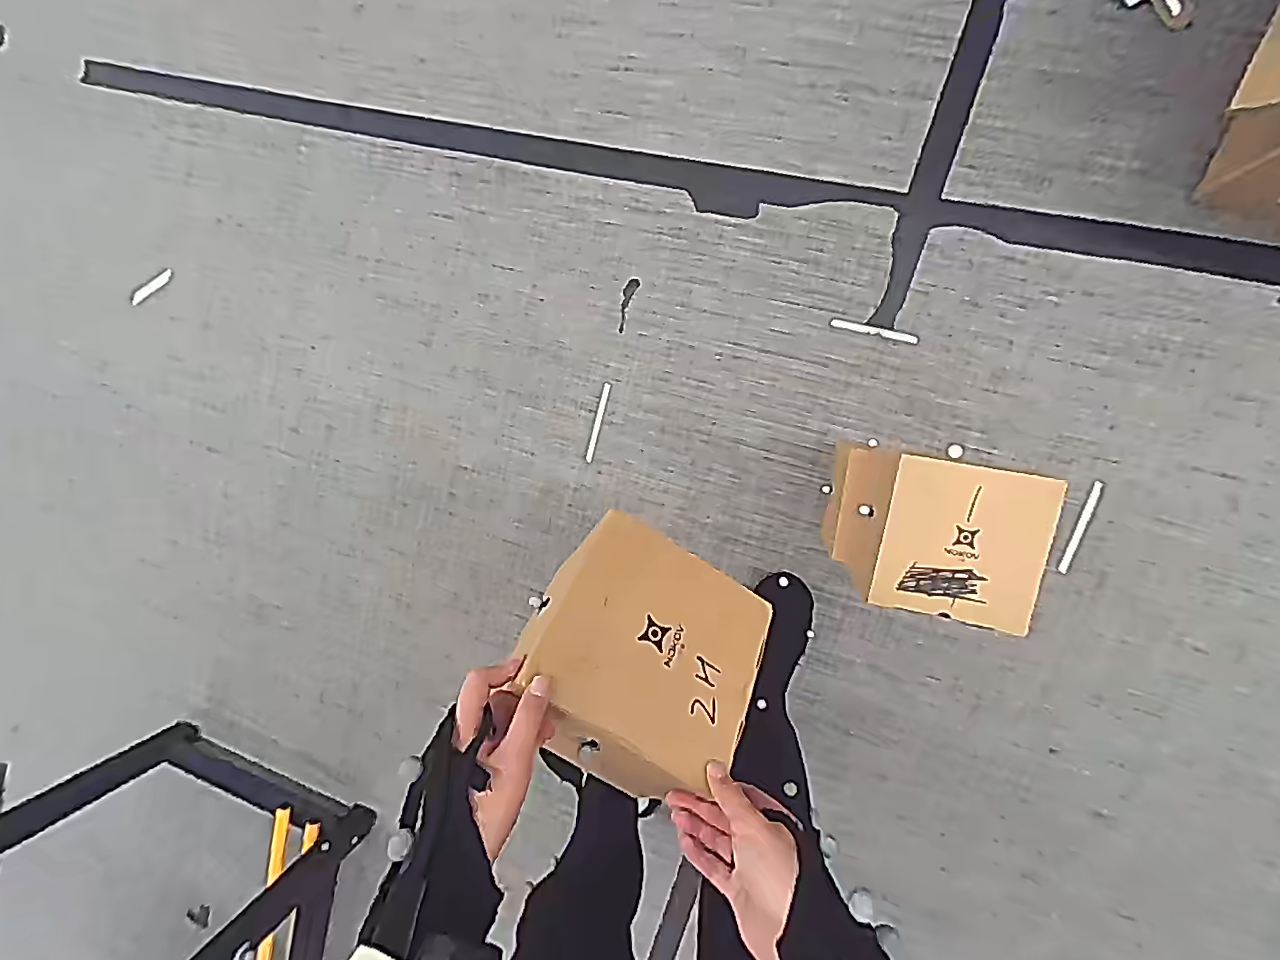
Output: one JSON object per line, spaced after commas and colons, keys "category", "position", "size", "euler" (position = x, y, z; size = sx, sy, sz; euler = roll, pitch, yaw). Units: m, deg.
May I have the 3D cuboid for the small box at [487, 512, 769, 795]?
{"category": "small box", "position": [-0.017, 0.165, 0.494], "size": [0.179, 0.168, 0.176], "euler": [33, 144, -7]}

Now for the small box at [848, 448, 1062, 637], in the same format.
{"category": "small box", "position": [0.364, 0.062, 0.665], "size": [0.168, 0.176, 0.179], "euler": [11, 98, 11]}
